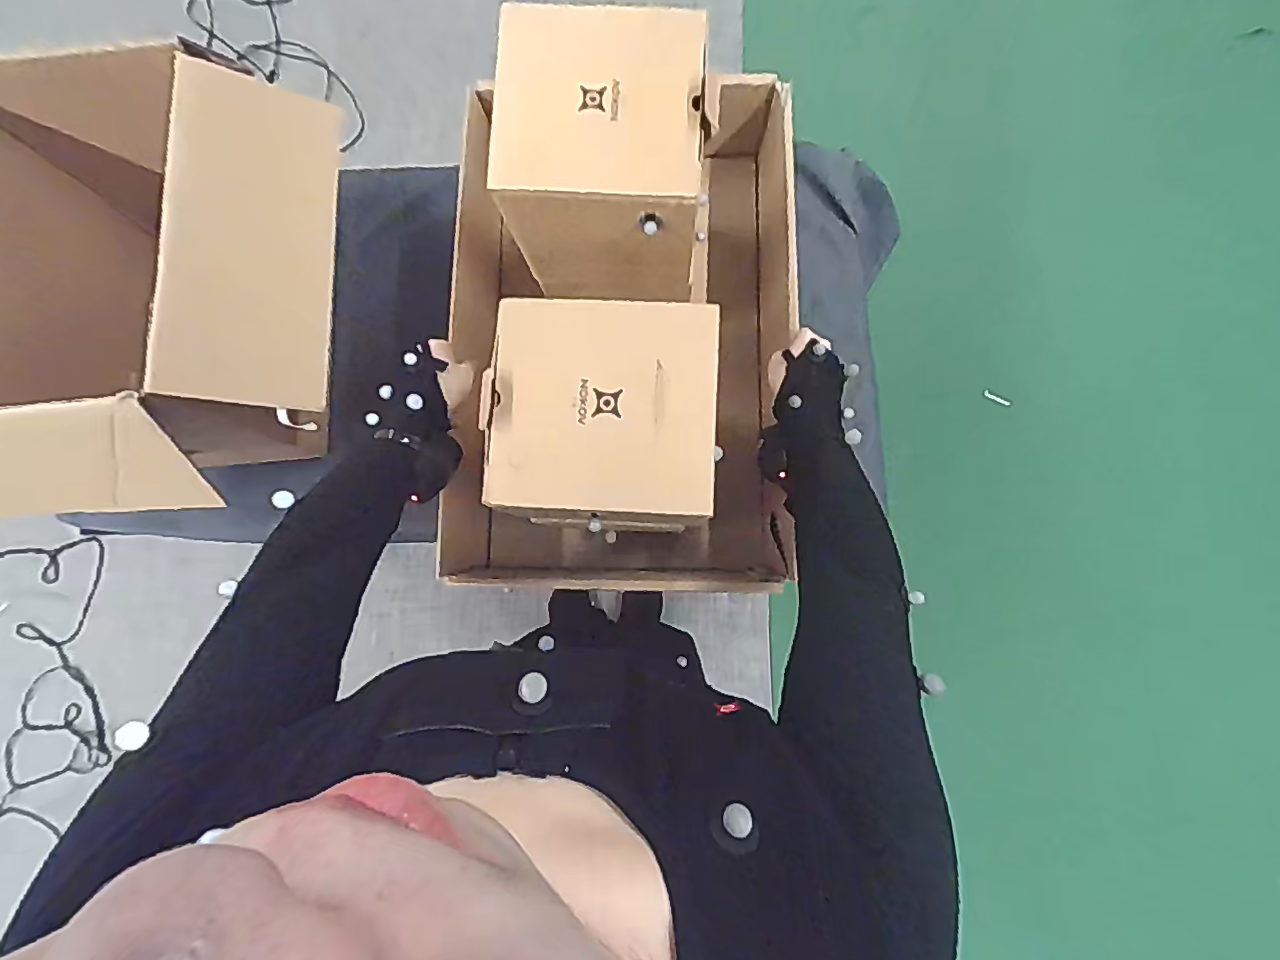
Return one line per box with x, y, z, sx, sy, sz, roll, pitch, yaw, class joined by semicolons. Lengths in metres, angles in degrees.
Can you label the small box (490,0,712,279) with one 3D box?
-0.029;-0.310;0.523;0.179;0.176;0.168;3;87;1;small box
